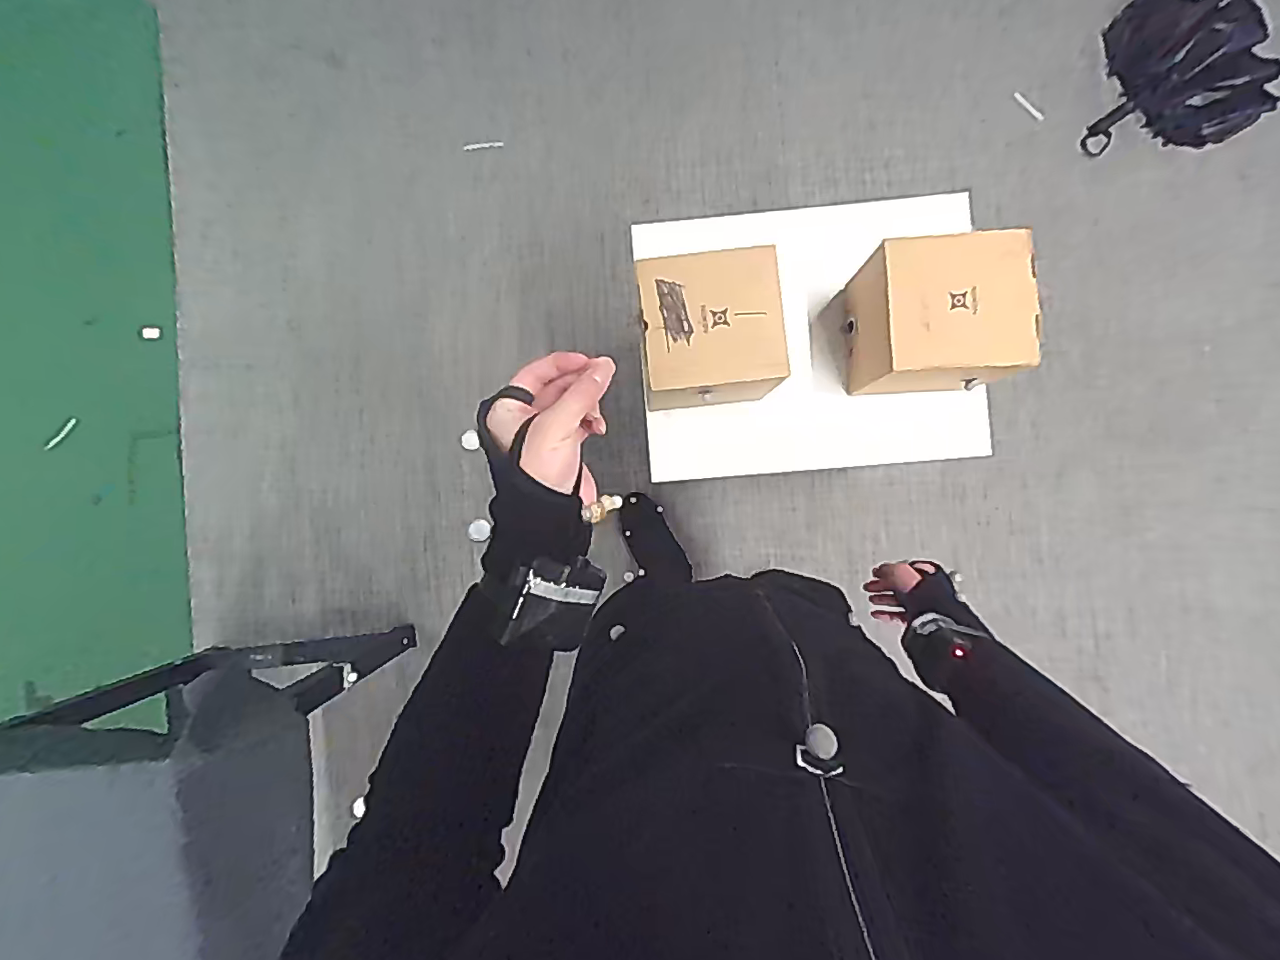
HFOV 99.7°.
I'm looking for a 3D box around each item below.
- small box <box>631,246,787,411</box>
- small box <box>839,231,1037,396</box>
[{"bbox_3d":[0.085,-0.192,0.731,0.179,0.176,0.168,-6,89,0],"label":"small box"},{"bbox_3d":[0.383,-0.209,0.722,0.179,0.176,0.168,-3,88,3],"label":"small box"}]
